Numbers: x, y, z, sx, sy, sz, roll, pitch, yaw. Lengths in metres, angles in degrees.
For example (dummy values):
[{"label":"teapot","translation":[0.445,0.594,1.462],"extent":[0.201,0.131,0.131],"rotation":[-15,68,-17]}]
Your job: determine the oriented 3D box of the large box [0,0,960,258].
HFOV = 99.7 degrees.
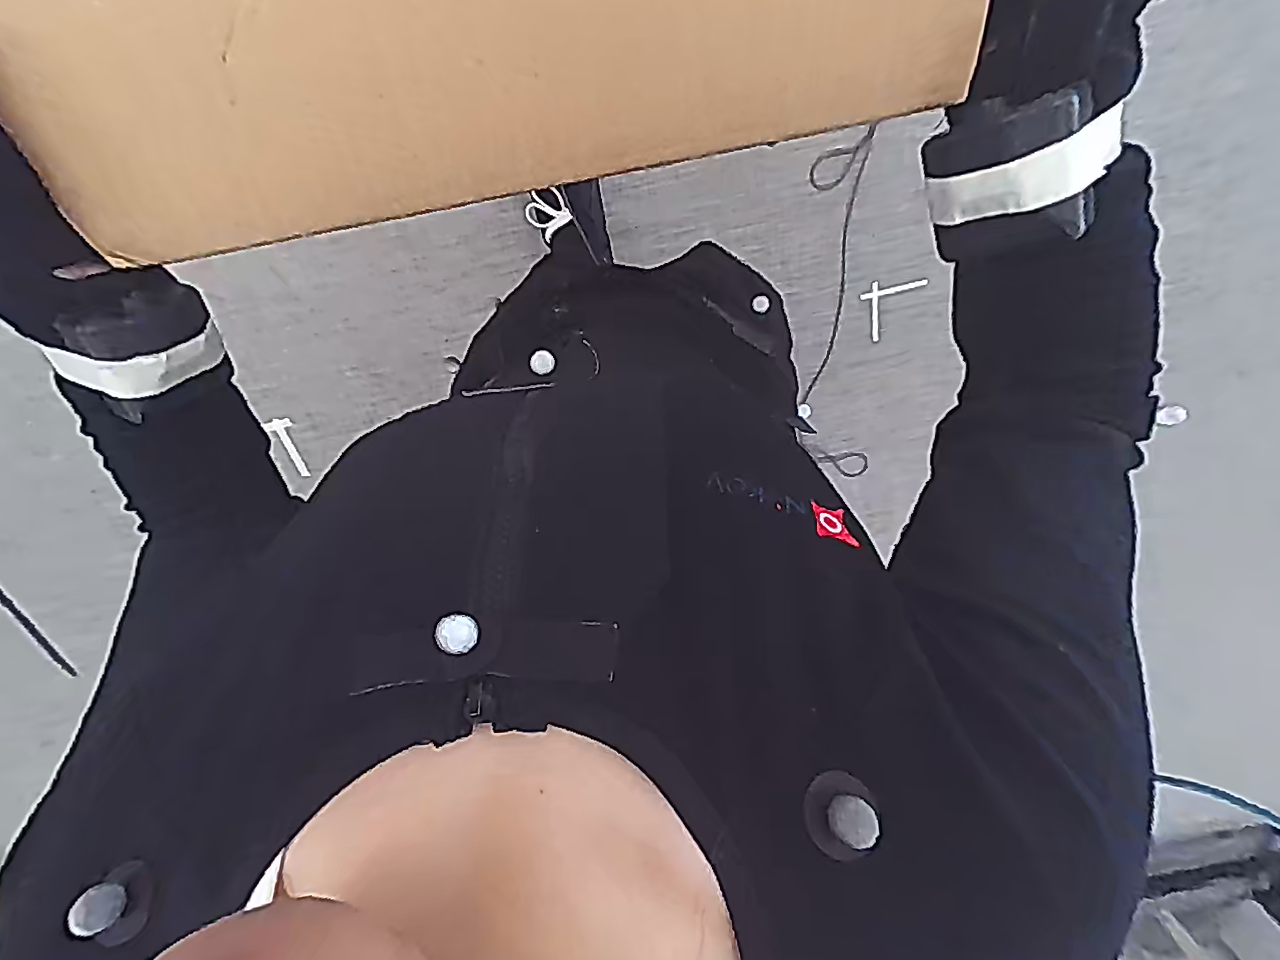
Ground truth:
[{"label":"large box","translation":[-0.090,-0.355,0.254],"extent":[0.408,0.320,0.320],"rotation":[-9,135,4]}]
